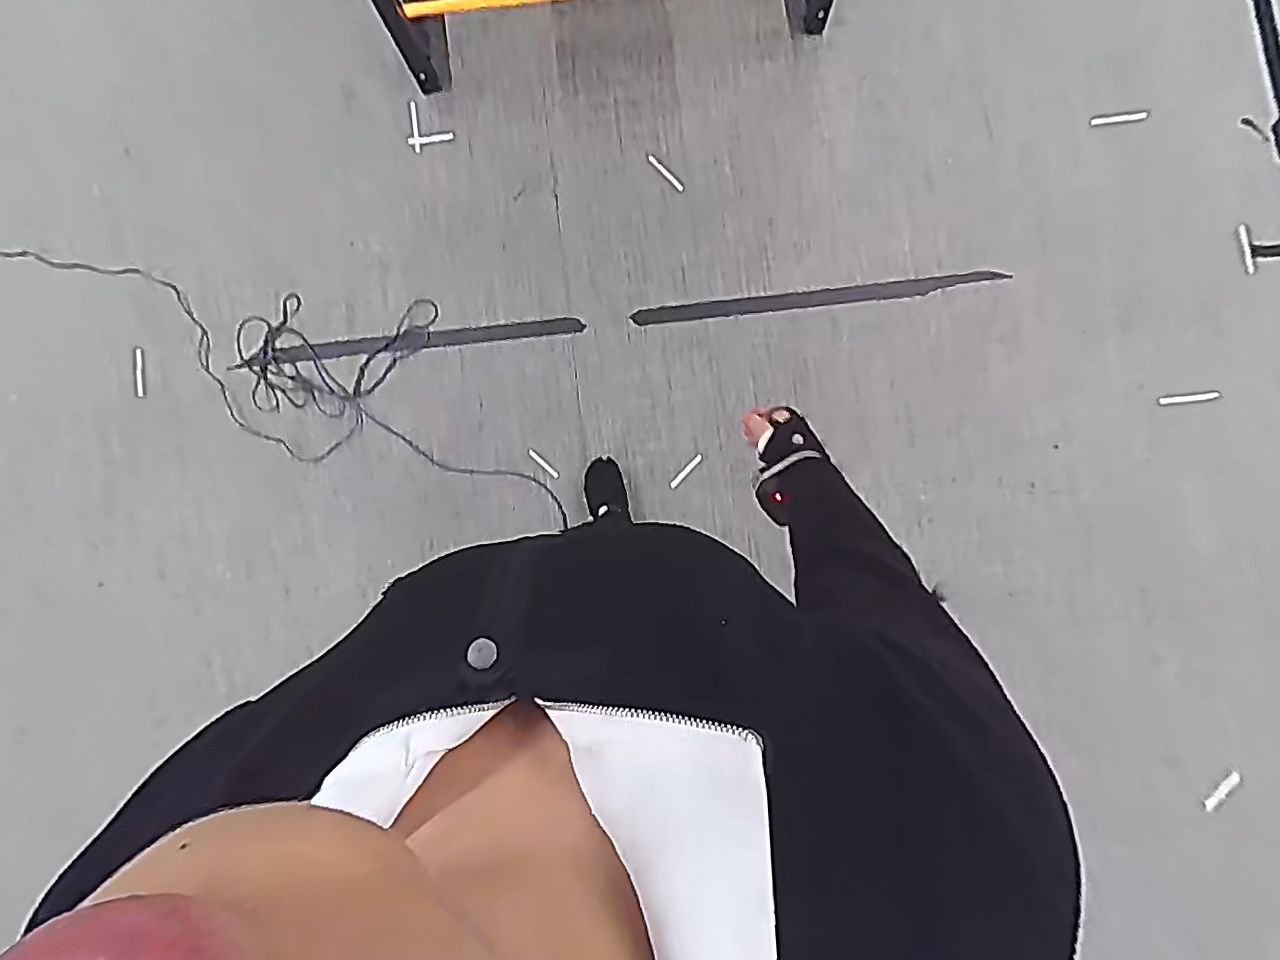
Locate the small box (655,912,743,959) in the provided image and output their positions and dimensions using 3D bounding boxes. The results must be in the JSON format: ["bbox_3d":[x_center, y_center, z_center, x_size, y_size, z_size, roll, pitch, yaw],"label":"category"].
[{"bbox_3d":[0.129,1.029,1.154,0.179,0.176,0.168,-11,86,1],"label":"small box"}]
